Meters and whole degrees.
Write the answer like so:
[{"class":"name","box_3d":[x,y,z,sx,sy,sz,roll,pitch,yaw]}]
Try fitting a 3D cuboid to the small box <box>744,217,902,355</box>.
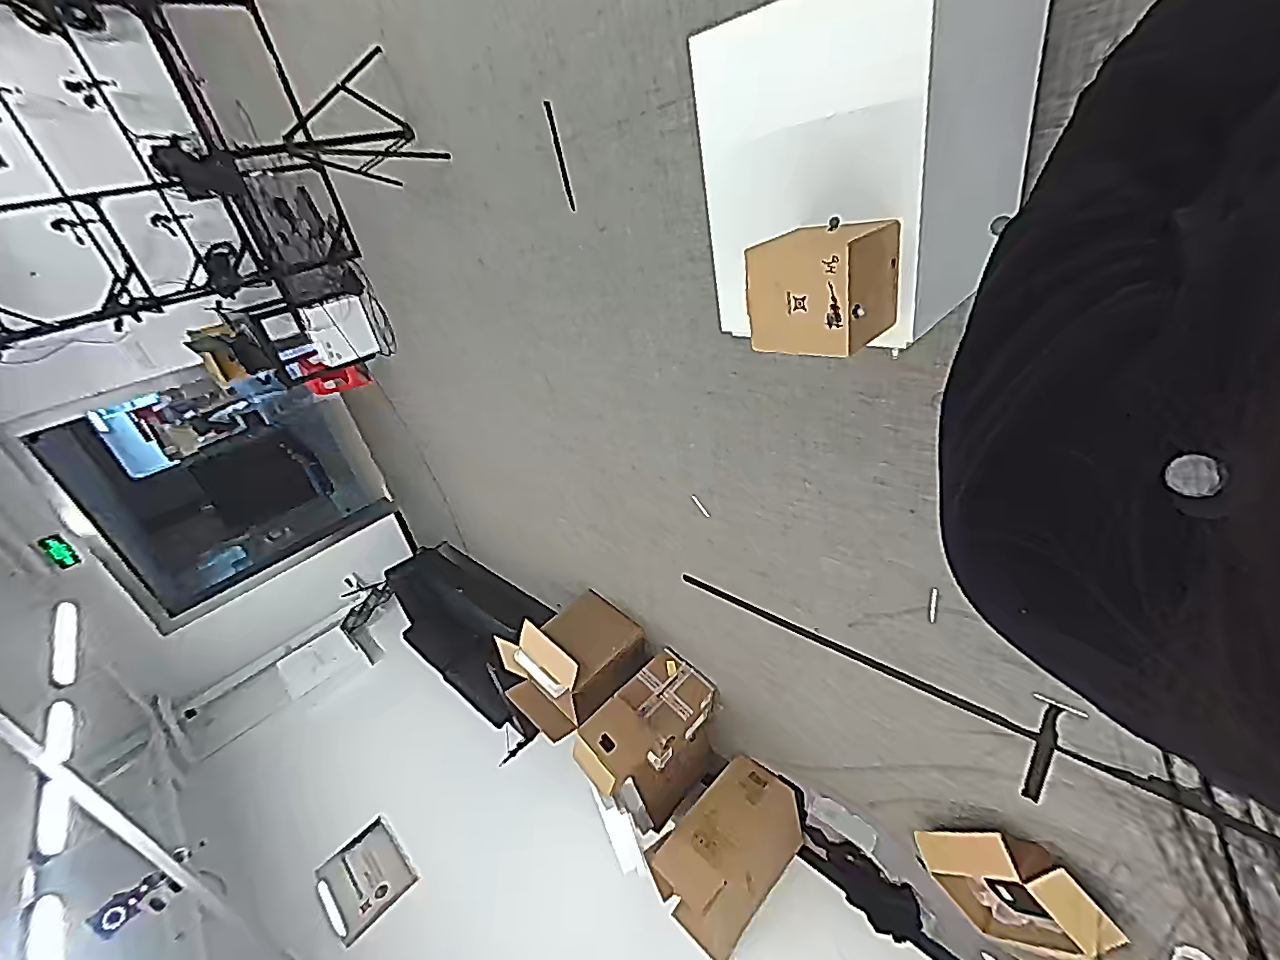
[{"class":"small box","box_3d":[0.292,-0.314,0.868,0.179,0.176,0.168,19,132,43]}]
